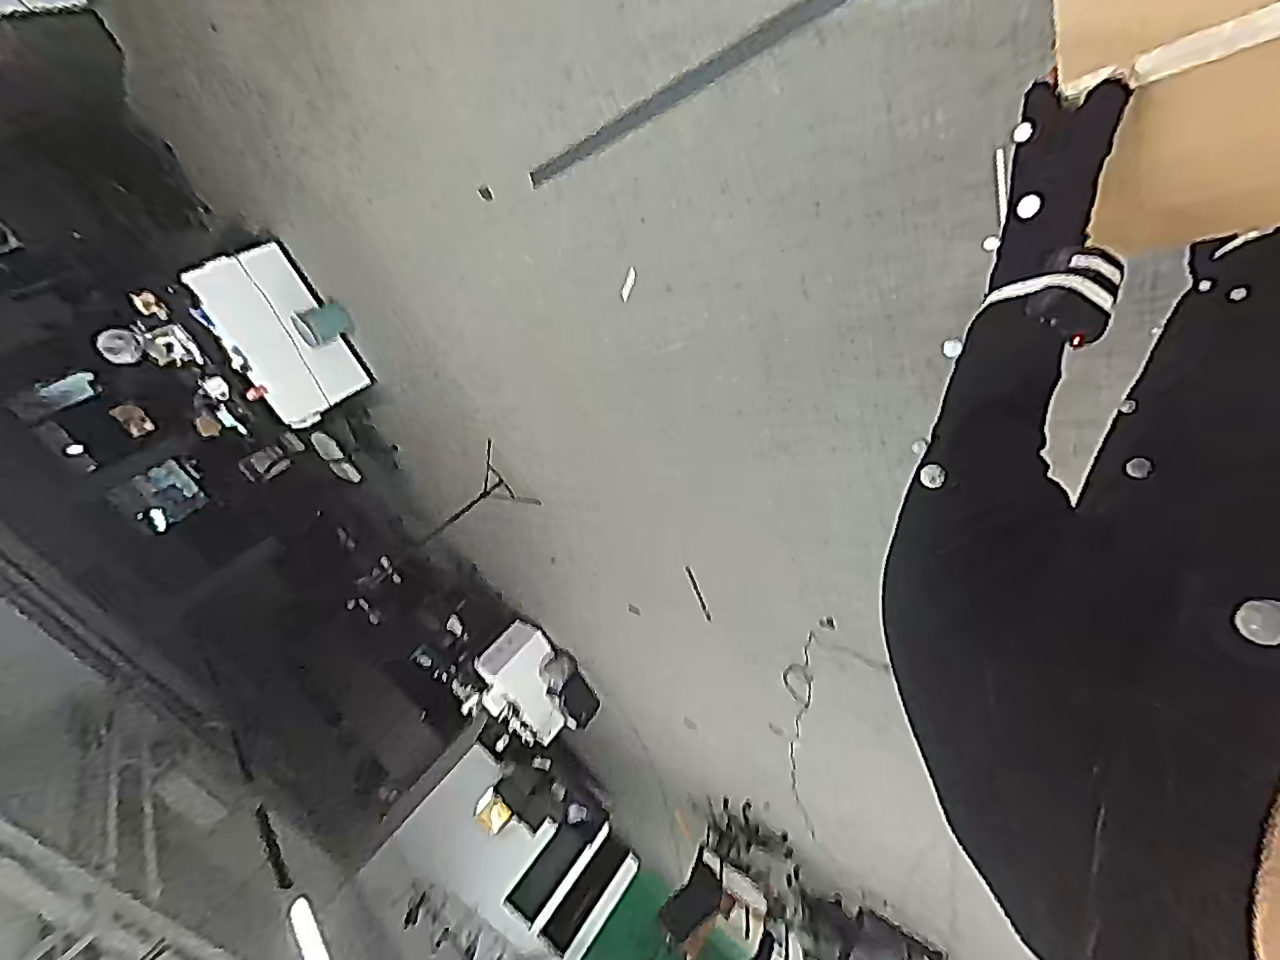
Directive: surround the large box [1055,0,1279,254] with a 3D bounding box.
[{"bbox_3d":[0.594,-0.427,0.407,0.408,0.320,0.320,4,132,47],"label":"large box"}]
